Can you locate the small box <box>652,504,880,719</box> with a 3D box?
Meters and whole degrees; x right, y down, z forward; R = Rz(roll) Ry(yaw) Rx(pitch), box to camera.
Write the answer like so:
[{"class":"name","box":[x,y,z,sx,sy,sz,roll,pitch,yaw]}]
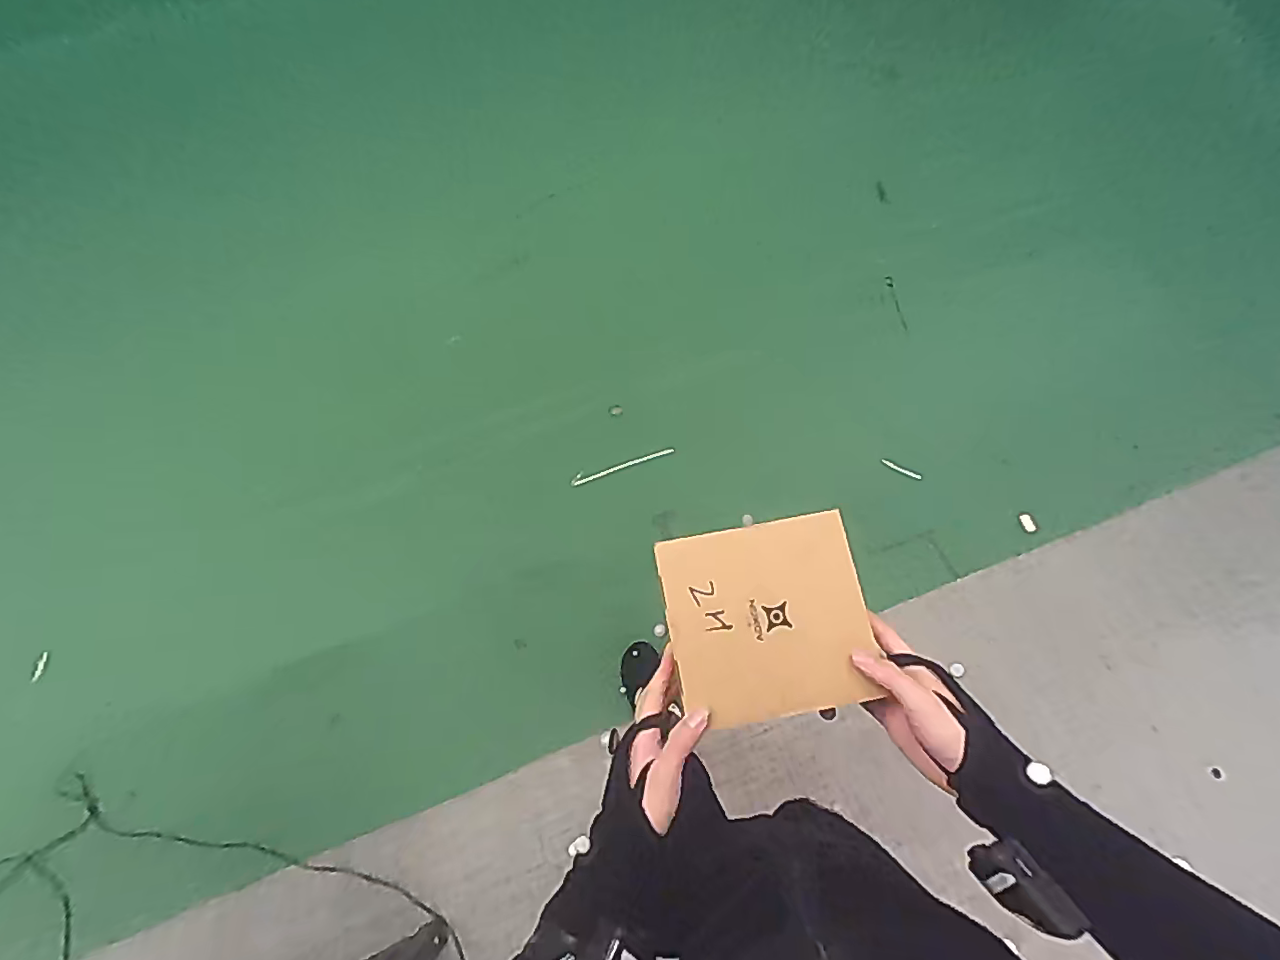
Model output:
[{"class":"small box","box":[0.111,0.130,0.557,0.179,0.176,0.168,-11,76,1]}]
